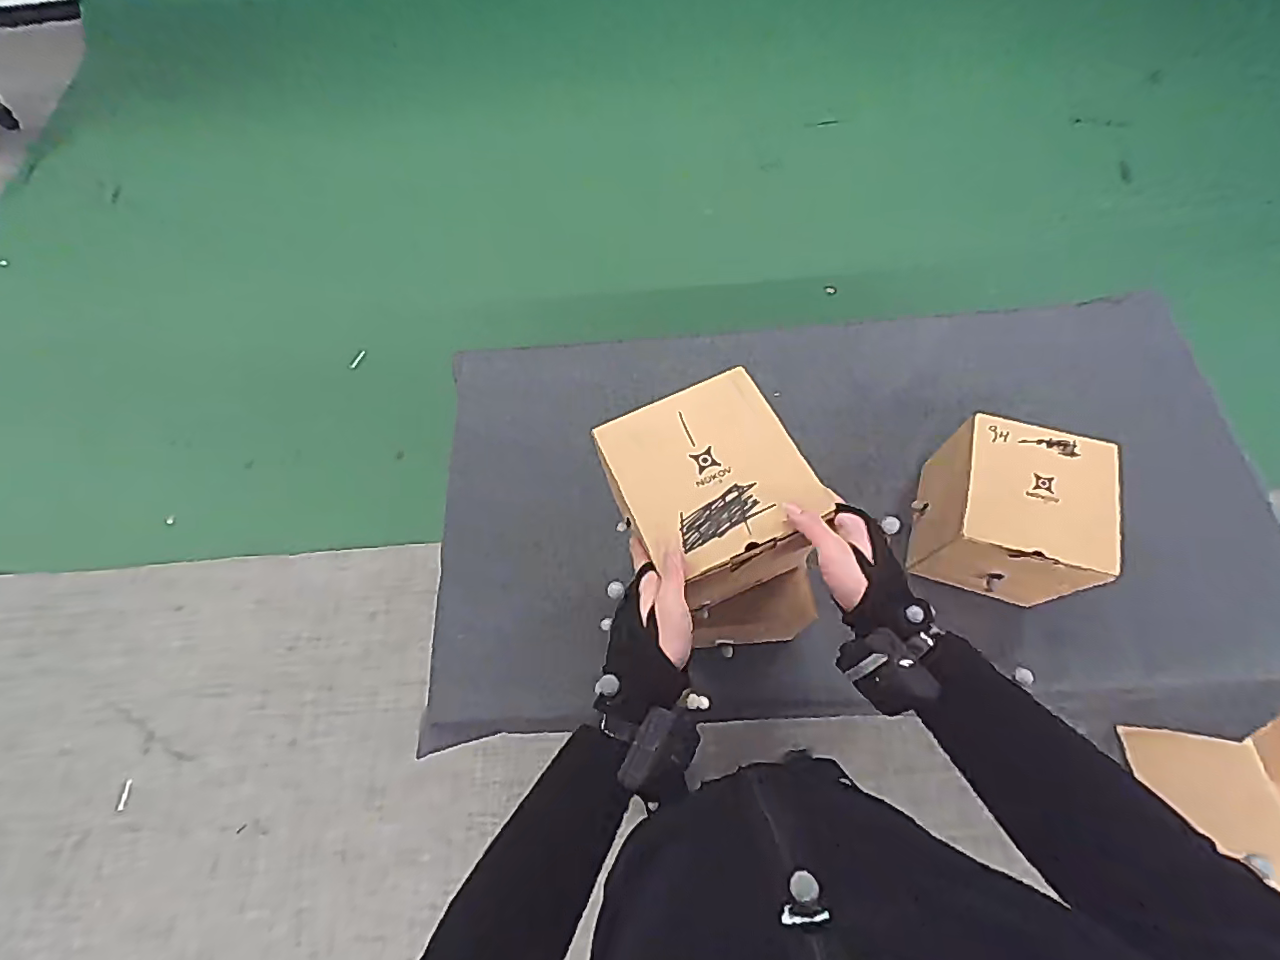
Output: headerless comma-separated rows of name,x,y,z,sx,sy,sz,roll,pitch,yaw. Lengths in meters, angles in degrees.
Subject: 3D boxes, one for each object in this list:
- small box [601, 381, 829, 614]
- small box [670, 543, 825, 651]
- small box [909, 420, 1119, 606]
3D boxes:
small box,0.074,0.032,0.585,0.168,0.176,0.179,-22,64,-6
small box,0.118,0.114,0.692,0.168,0.176,0.179,-6,66,2
small box,0.478,0.052,0.714,0.168,0.176,0.179,17,69,11
